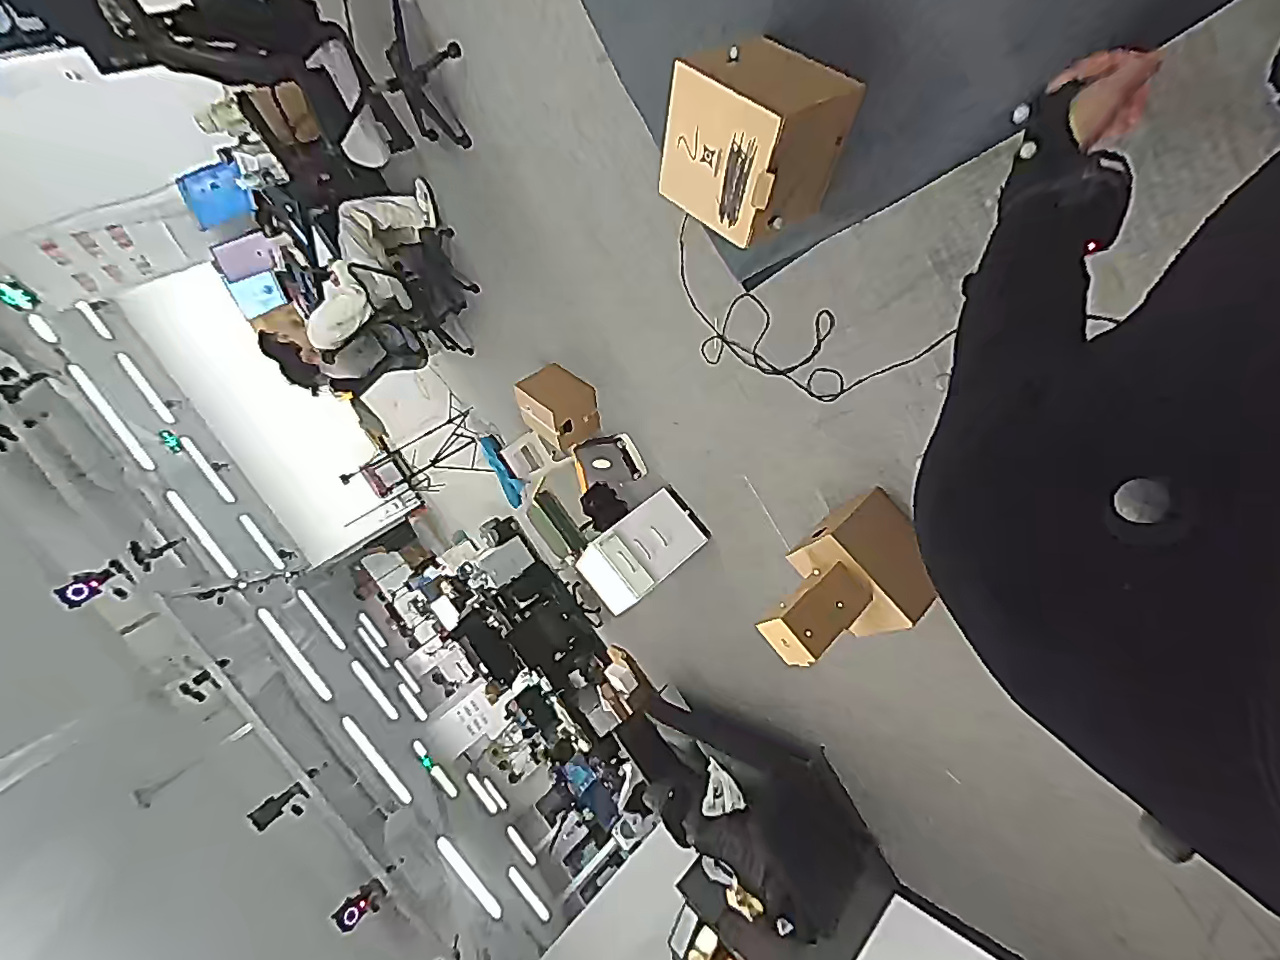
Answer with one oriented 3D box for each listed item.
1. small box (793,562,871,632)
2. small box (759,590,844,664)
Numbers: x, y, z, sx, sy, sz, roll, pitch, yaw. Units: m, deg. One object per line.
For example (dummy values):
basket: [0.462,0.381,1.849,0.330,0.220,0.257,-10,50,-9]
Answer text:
small box: [0.669,0.416,1.895,0.179,0.176,0.168,51,153,8]
small box: [0.543,0.491,1.823,0.179,0.176,0.168,50,152,7]
